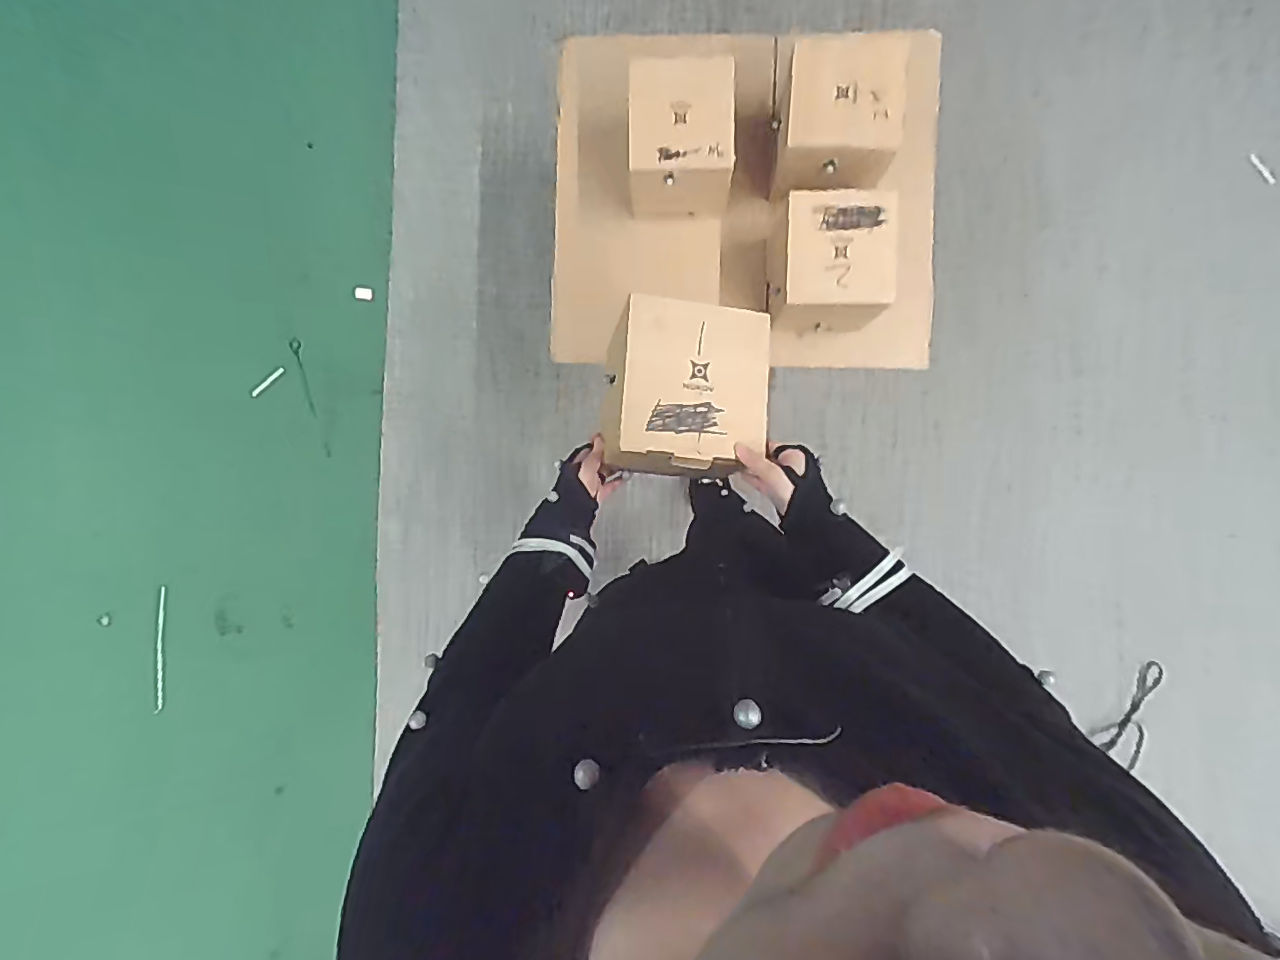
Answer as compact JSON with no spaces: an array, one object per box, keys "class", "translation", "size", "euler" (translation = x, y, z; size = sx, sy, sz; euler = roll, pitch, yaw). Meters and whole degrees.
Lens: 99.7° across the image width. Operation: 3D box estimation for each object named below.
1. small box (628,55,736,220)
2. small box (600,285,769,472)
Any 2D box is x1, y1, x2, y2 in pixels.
[{"class":"small box","translation":[0.070,-0.568,0.916],"size":[0.168,0.176,0.179],"euler":[1,90,5]},{"class":"small box","translation":[0.045,-0.110,0.667],"size":[0.168,0.176,0.179],"euler":[6,82,-10]}]
